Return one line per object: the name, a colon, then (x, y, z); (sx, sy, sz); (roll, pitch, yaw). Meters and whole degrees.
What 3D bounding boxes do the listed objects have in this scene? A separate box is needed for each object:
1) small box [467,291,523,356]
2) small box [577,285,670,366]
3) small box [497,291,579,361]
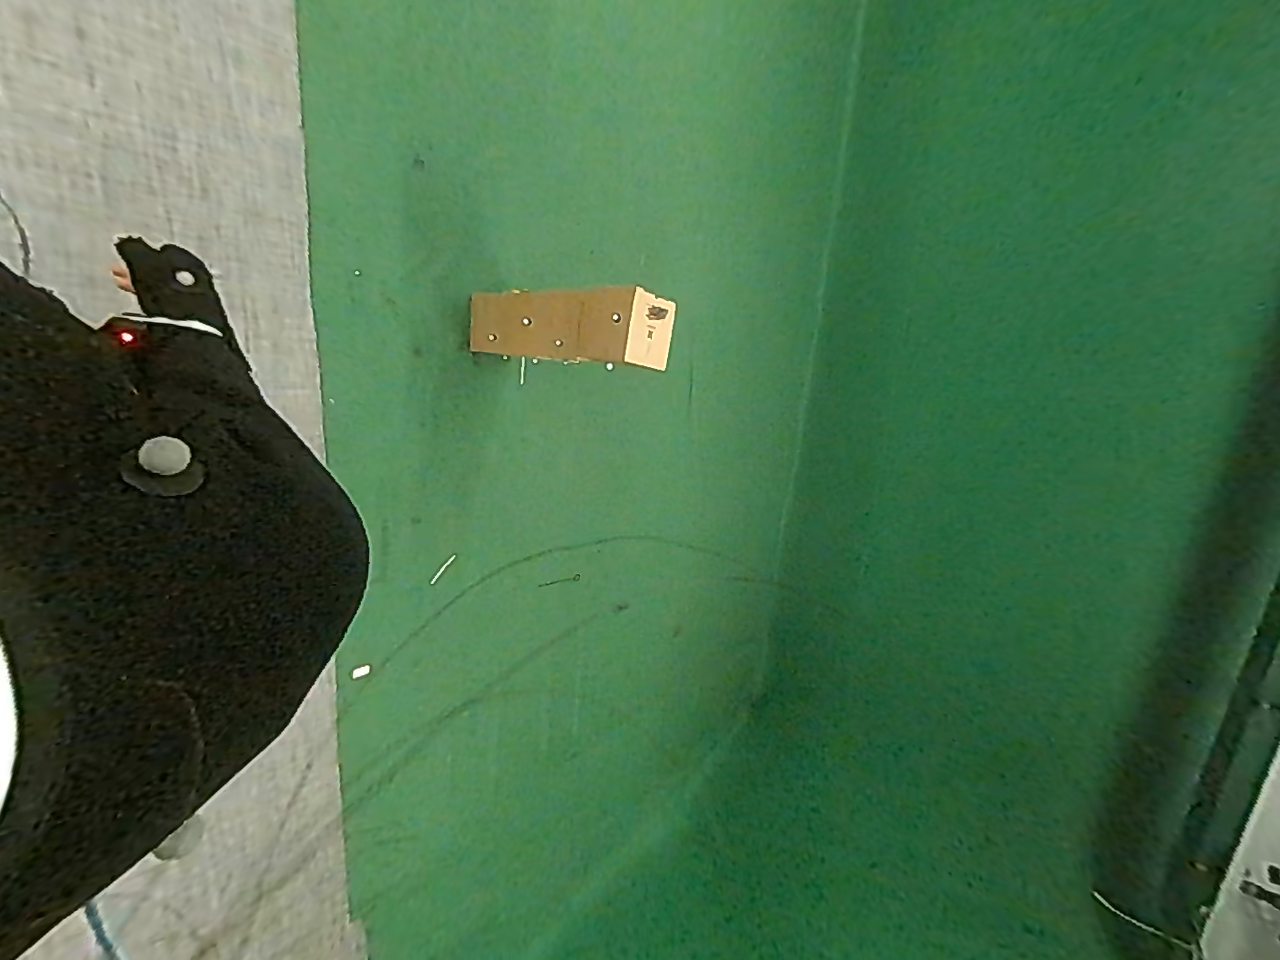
small box: (-0.423, -0.485, 1.685); (0.168, 0.176, 0.179); (-10, 110, -51)
small box: (-0.045, -0.392, 1.384); (0.168, 0.176, 0.179); (-6, 106, -51)
small box: (-0.301, -0.449, 1.582); (0.168, 0.176, 0.179); (-8, 108, -51)
